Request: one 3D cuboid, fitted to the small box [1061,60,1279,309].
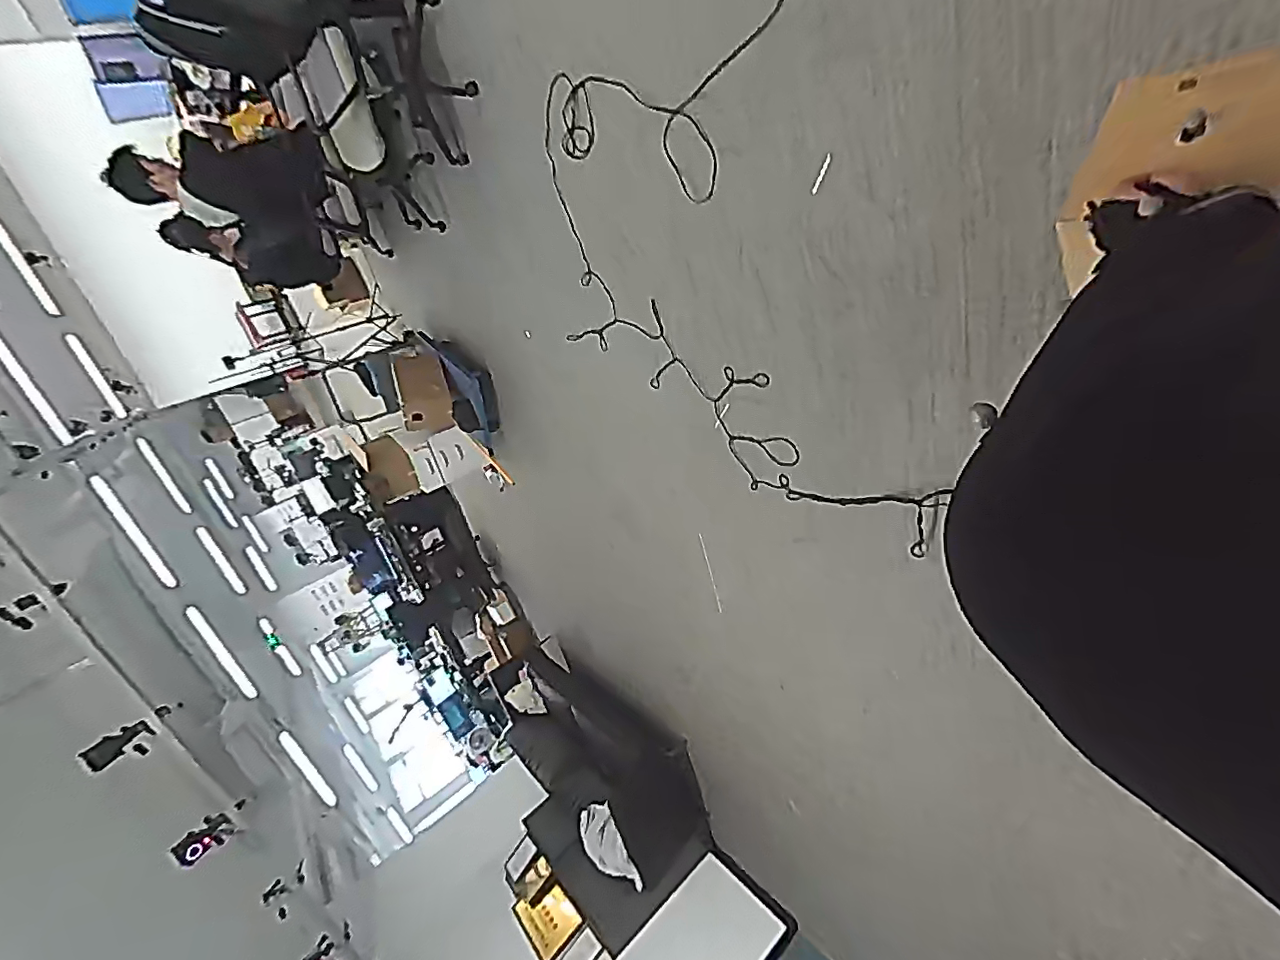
[{"bbox_3d":[0.590,-0.306,0.584,0.179,0.176,0.168,28,175,-42],"label":"small box"}]
